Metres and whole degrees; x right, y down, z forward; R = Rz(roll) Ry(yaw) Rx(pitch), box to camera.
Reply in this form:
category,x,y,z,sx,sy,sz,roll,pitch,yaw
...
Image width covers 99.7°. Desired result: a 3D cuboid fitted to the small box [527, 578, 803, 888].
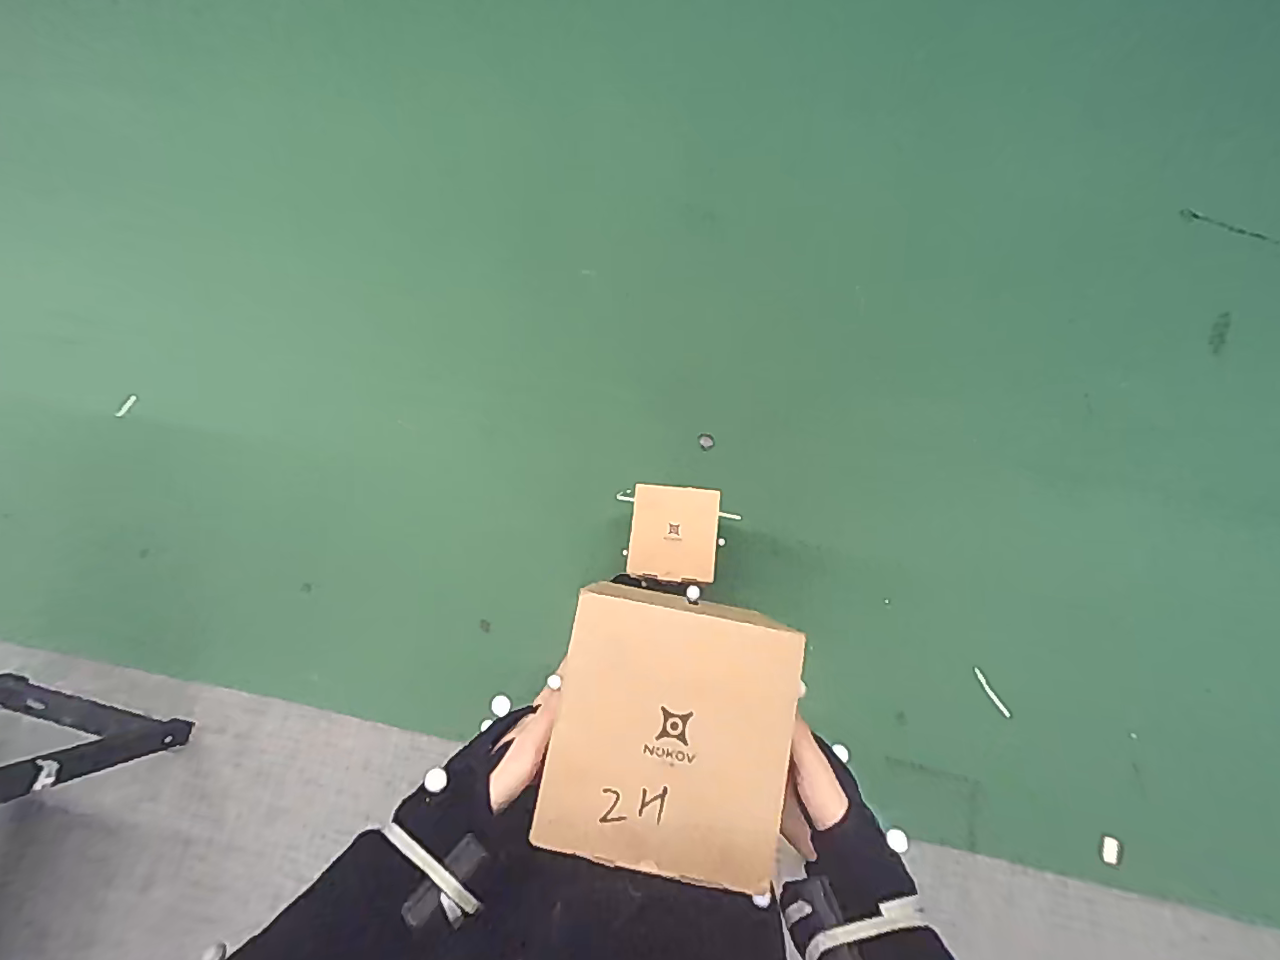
category,x,y,z,sx,sy,sz,roll,pitch,yaw
small box,0.020,0.184,0.453,0.168,0.176,0.179,12,81,3

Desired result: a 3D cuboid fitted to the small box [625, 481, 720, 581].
category,x,y,z,sx,sy,sz,roll,pitch,yaw
small box,0.067,0.108,1.100,0.168,0.176,0.179,5,81,6
